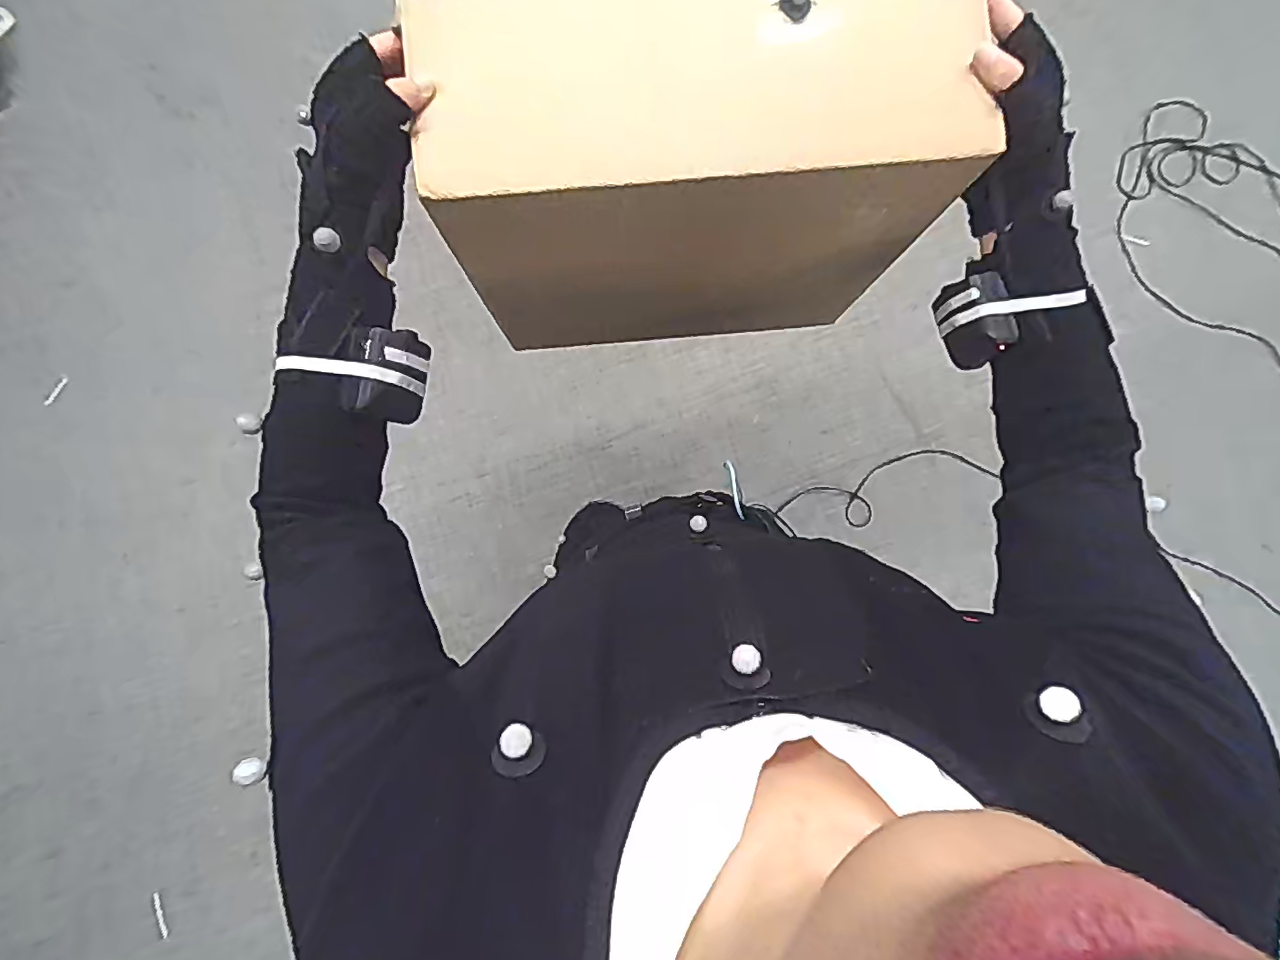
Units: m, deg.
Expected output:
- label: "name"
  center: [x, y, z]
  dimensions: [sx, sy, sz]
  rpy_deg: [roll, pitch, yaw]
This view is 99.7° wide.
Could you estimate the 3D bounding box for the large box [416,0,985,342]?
- label: "large box"
  center: [0.029, -0.354, 0.541]
  dimensions: [0.408, 0.320, 0.320]
  rpy_deg: [-6, 85, -3]
